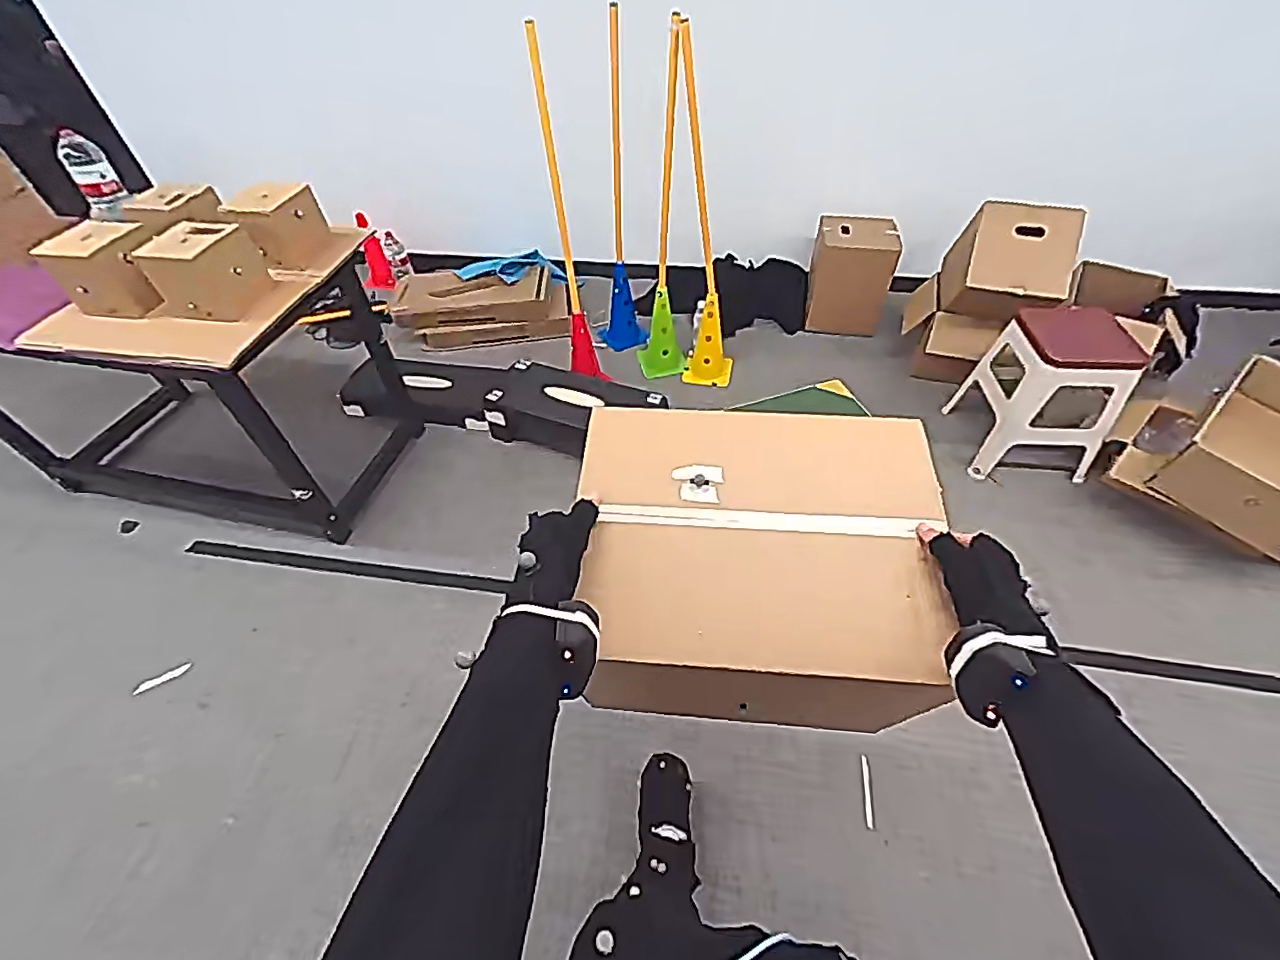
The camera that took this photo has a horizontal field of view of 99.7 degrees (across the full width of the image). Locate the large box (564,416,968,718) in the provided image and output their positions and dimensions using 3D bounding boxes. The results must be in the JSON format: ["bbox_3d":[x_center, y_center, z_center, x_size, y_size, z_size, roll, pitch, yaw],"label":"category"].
[{"bbox_3d":[0.139,0.130,0.736,0.408,0.320,0.320,3,58,5],"label":"large box"}]
